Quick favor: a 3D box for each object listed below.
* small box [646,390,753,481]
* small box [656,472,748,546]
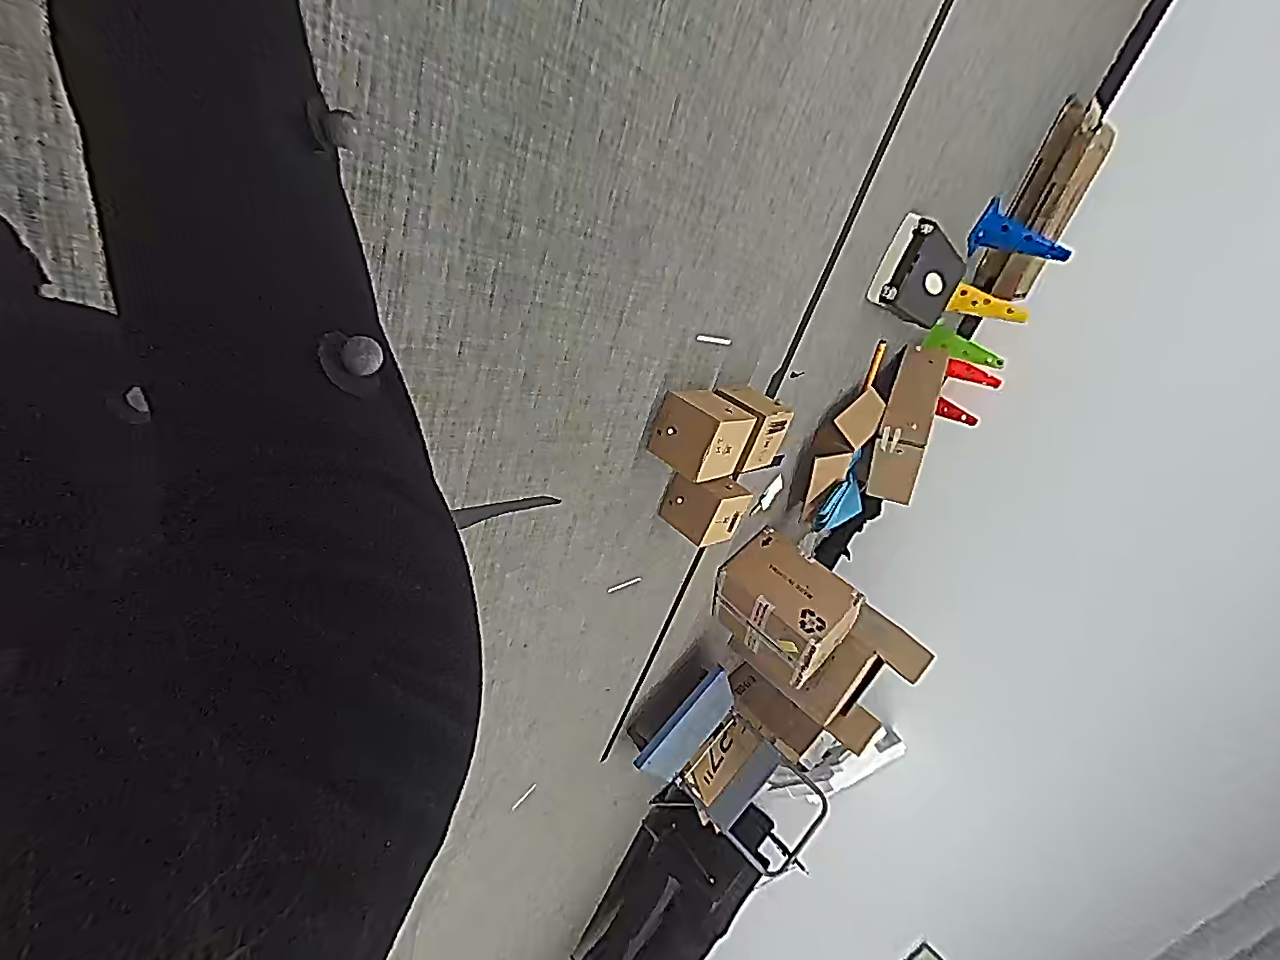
[{"bbox_3d":[0.146,-0.118,1.355,0.179,0.176,0.168,-12,129,-49],"label":"small box"},{"bbox_3d":[0.181,0.069,1.599,0.179,0.176,0.168,-7,126,-50],"label":"small box"}]
